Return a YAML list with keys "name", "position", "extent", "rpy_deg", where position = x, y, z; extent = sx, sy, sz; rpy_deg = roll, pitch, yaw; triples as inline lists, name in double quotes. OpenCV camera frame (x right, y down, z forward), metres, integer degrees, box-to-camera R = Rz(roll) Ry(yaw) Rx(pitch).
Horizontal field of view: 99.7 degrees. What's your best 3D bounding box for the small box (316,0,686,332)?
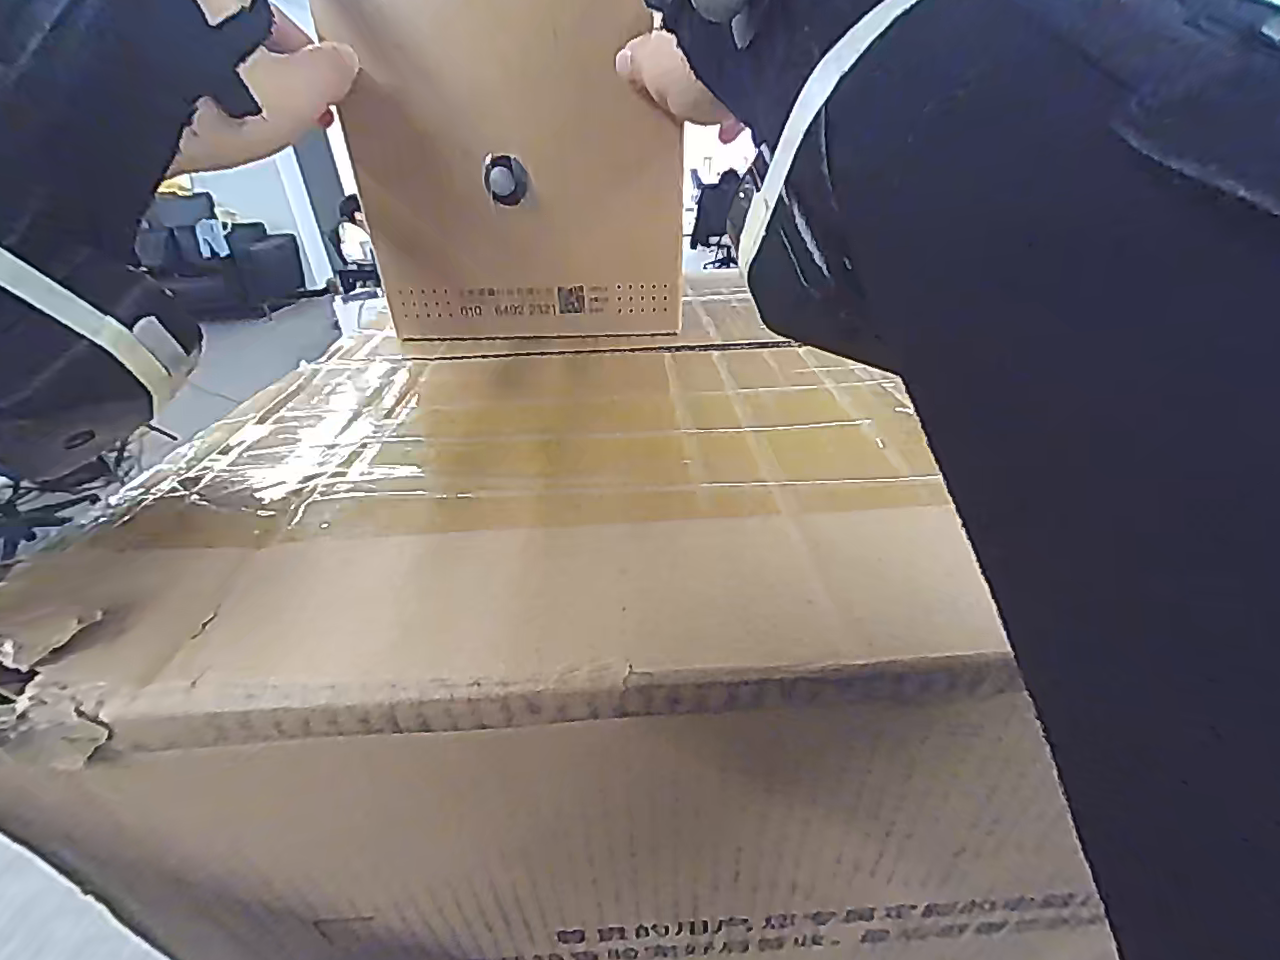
- name: "small box"
  position: [-0.057, -0.197, 0.341]
  extent: [0.168, 0.176, 0.179]
  rpy_deg: [0, 32, 1]
